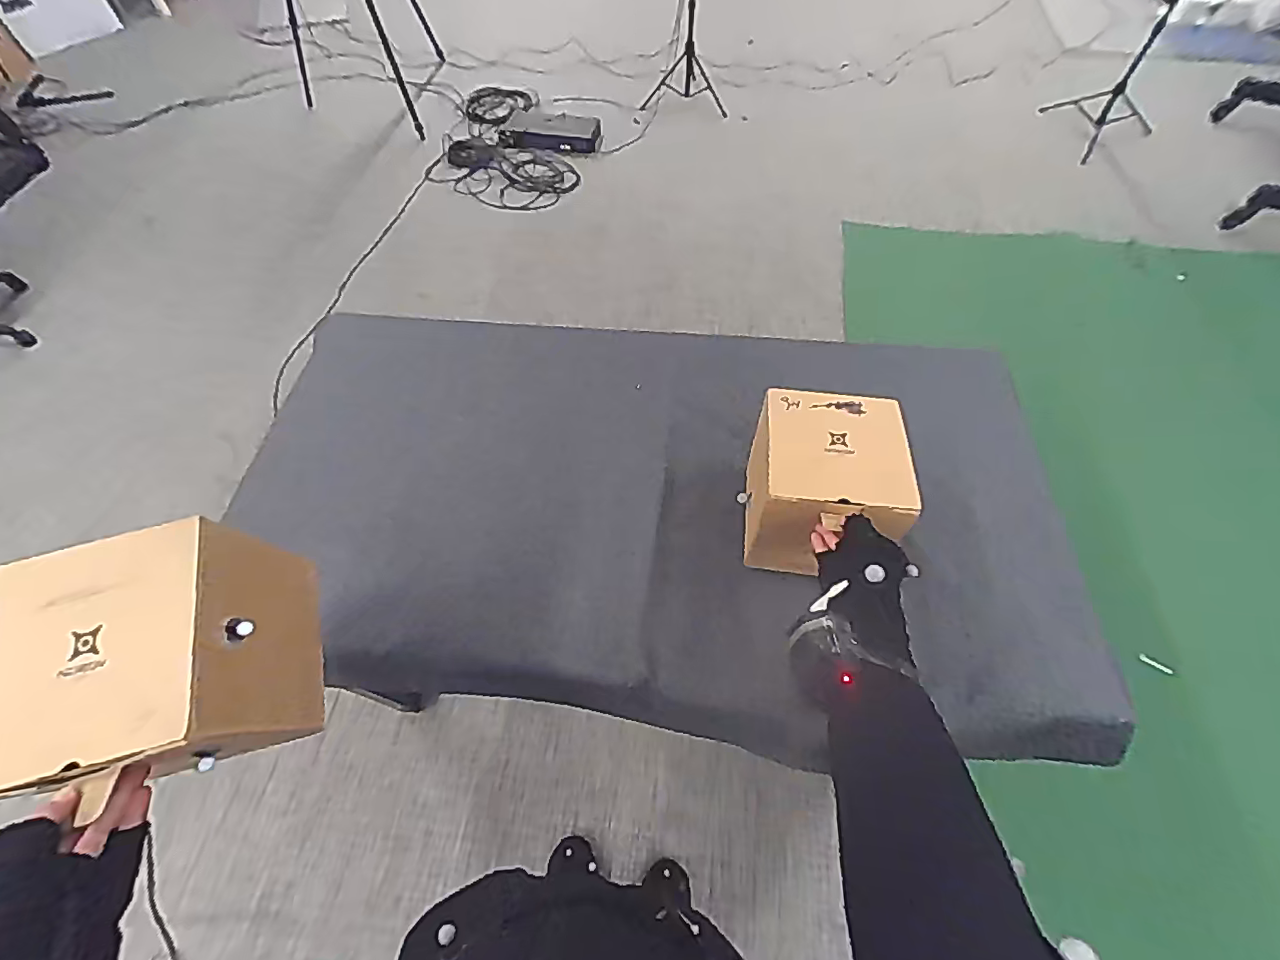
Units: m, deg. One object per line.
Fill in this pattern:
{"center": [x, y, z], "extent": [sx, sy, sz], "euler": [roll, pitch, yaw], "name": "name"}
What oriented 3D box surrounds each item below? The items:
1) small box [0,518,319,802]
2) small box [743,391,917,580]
{"center": [-0.409, 0.156, 0.475], "extent": [0.168, 0.176, 0.179], "euler": [-15, 67, -4], "name": "small box"}
{"center": [0.230, 0.012, 0.701], "extent": [0.168, 0.176, 0.179], "euler": [7, 53, 4], "name": "small box"}
